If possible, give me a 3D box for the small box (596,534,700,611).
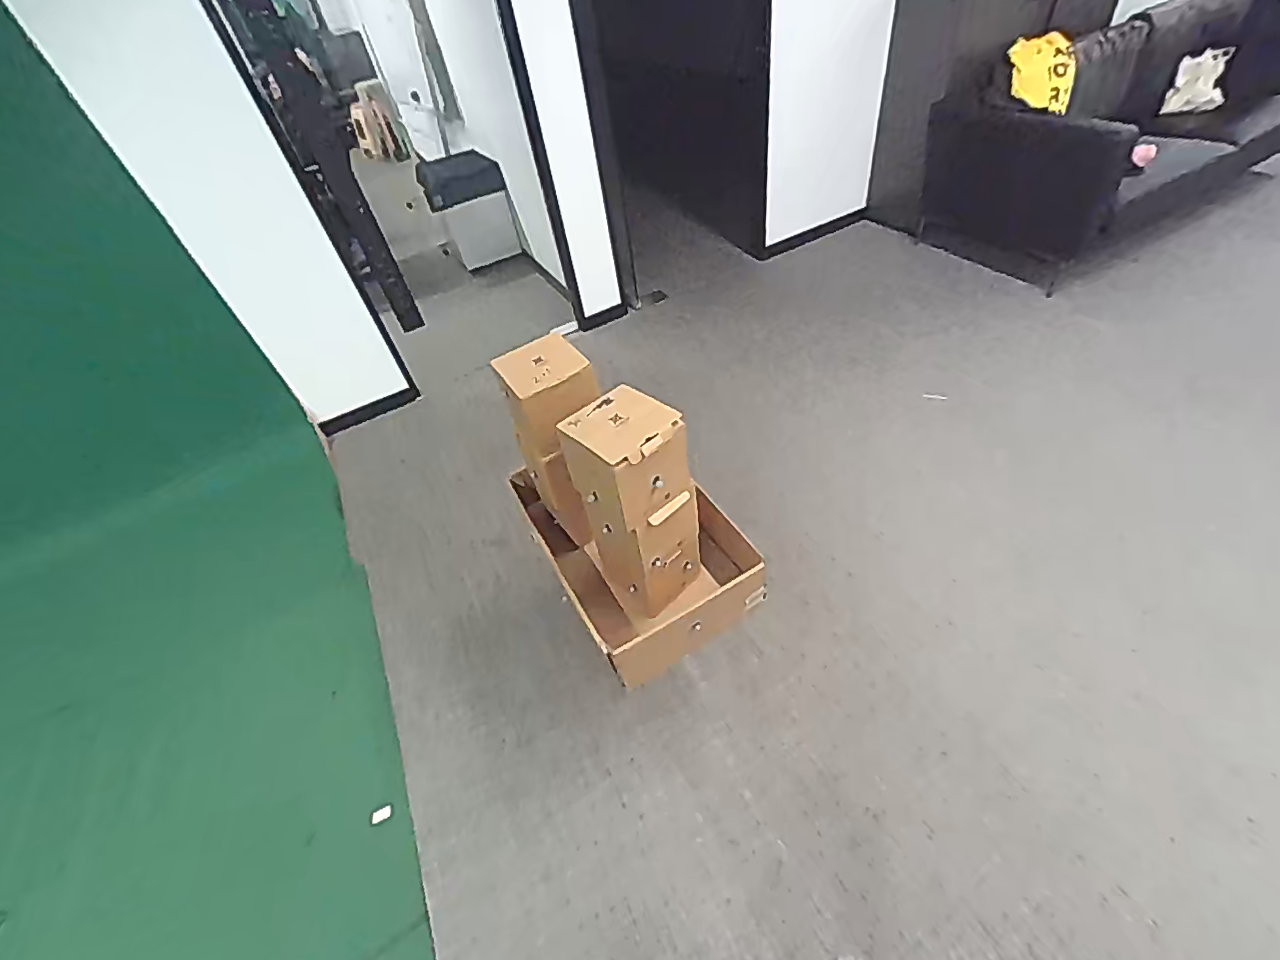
[{"bbox_3d":[0.026,0.179,1.265,0.168,0.176,0.179,-37,50,-24],"label":"small box"}]

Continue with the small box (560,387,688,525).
[{"bbox_3d":[-0.023,-0.040,1.025,0.168,0.176,0.179,-35,51,-23],"label":"small box"}]

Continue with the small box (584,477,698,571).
[{"bbox_3d":[0.007,0.067,1.147,0.168,0.176,0.179,-37,50,-24],"label":"small box"}]

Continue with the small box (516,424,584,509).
[{"bbox_3d":[-0.168,-0.066,1.305,0.179,0.176,0.168,-31,50,-17],"label":"small box"}]

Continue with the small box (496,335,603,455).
[{"bbox_3d":[-0.191,-0.187,1.194,0.168,0.176,0.179,-30,49,-15],"label":"small box"}]
